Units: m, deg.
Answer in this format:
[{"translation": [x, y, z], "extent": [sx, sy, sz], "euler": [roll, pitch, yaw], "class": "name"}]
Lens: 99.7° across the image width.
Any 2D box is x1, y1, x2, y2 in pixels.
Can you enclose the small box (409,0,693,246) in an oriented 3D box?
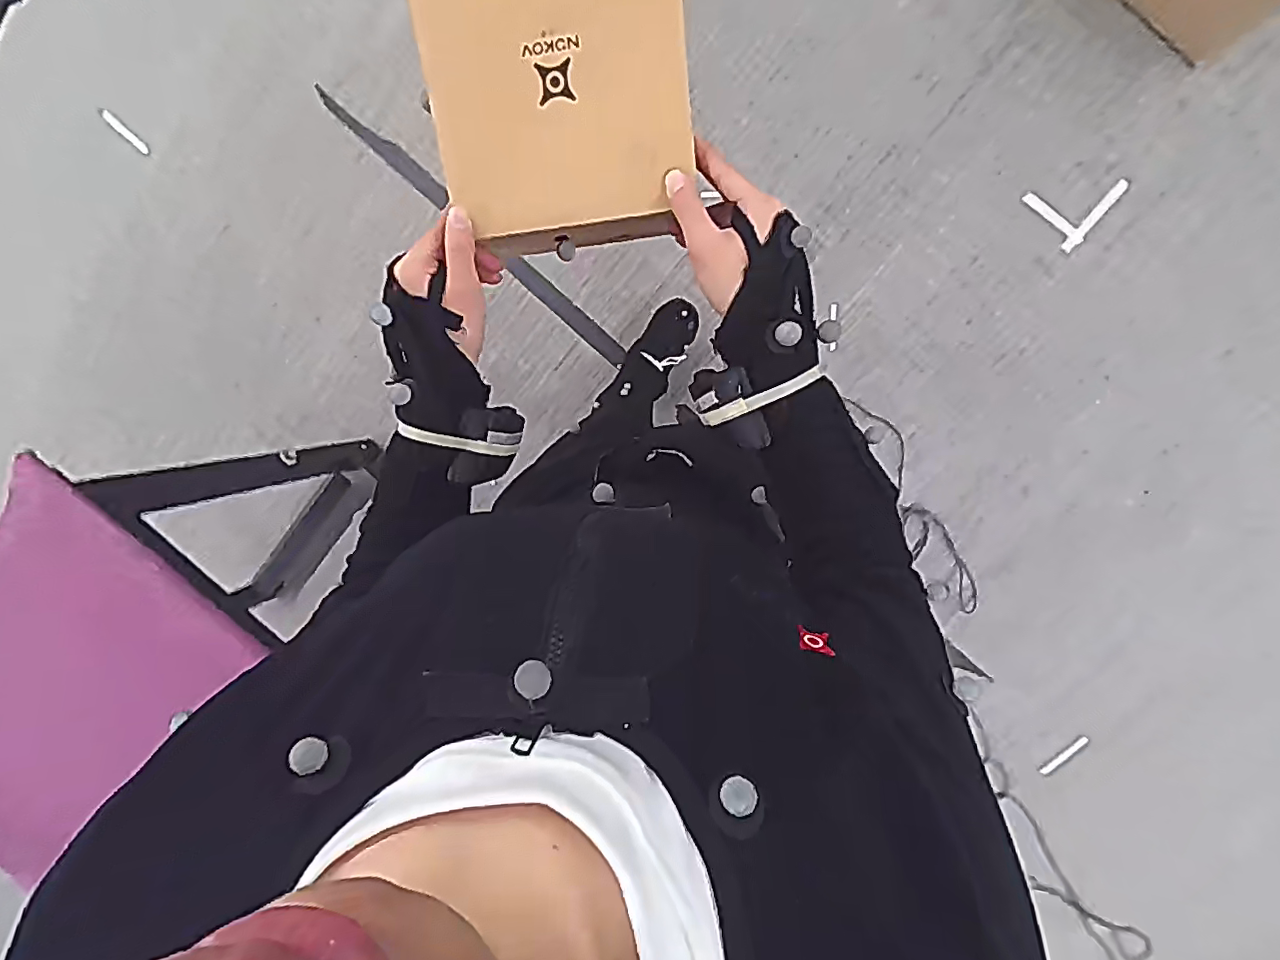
[{"translation": [-0.048, -0.280, 0.406], "extent": [0.168, 0.176, 0.179], "euler": [-6, 108, 5], "class": "small box"}]
